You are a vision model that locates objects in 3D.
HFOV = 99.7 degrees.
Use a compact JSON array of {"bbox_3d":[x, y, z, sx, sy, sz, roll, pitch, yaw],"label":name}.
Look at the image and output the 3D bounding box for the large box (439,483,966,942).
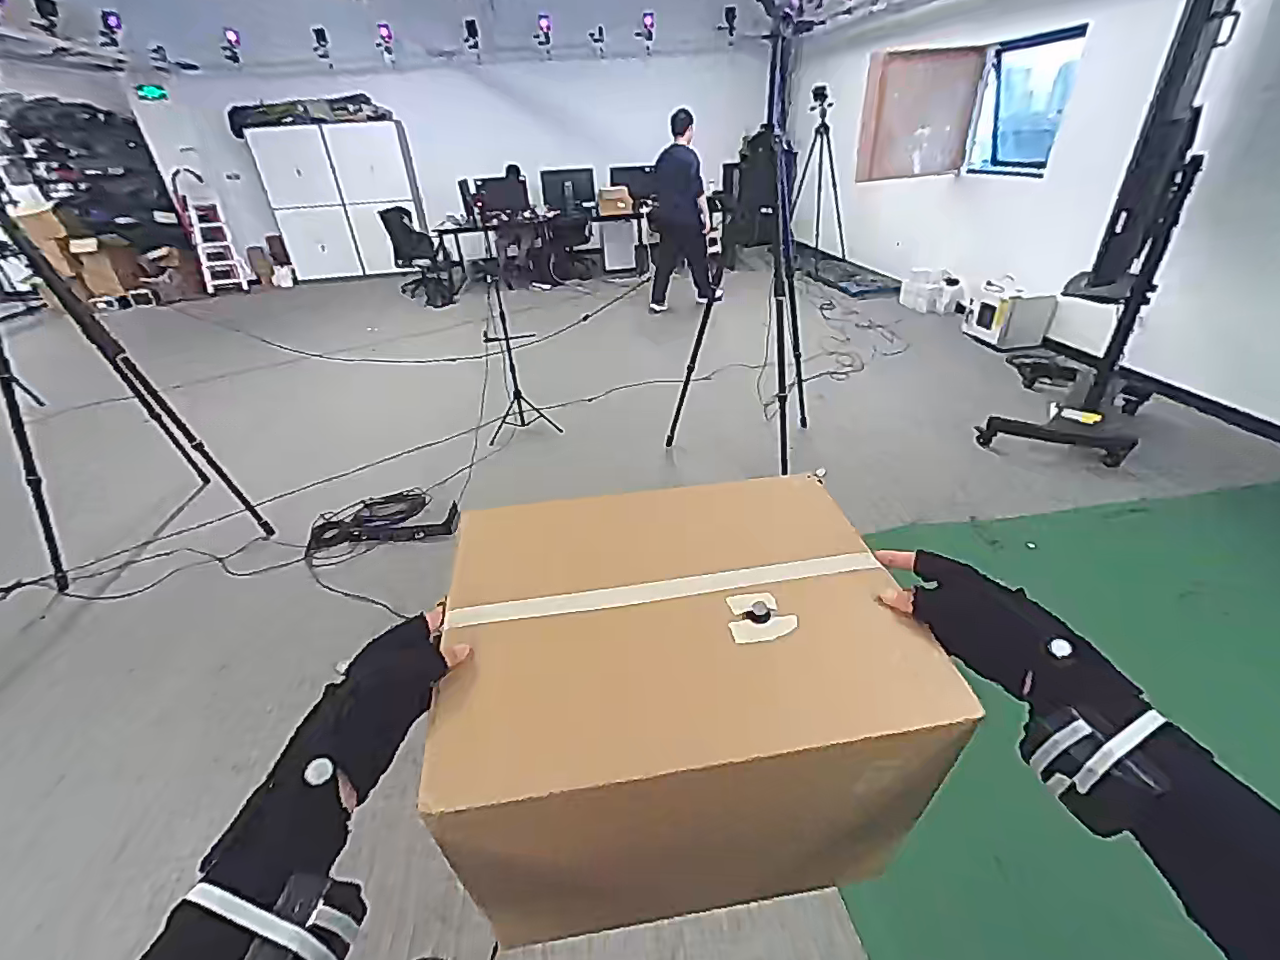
[{"bbox_3d":[0.035,0.231,0.593,0.408,0.320,0.320,-5,36,-7],"label":"large box"}]
